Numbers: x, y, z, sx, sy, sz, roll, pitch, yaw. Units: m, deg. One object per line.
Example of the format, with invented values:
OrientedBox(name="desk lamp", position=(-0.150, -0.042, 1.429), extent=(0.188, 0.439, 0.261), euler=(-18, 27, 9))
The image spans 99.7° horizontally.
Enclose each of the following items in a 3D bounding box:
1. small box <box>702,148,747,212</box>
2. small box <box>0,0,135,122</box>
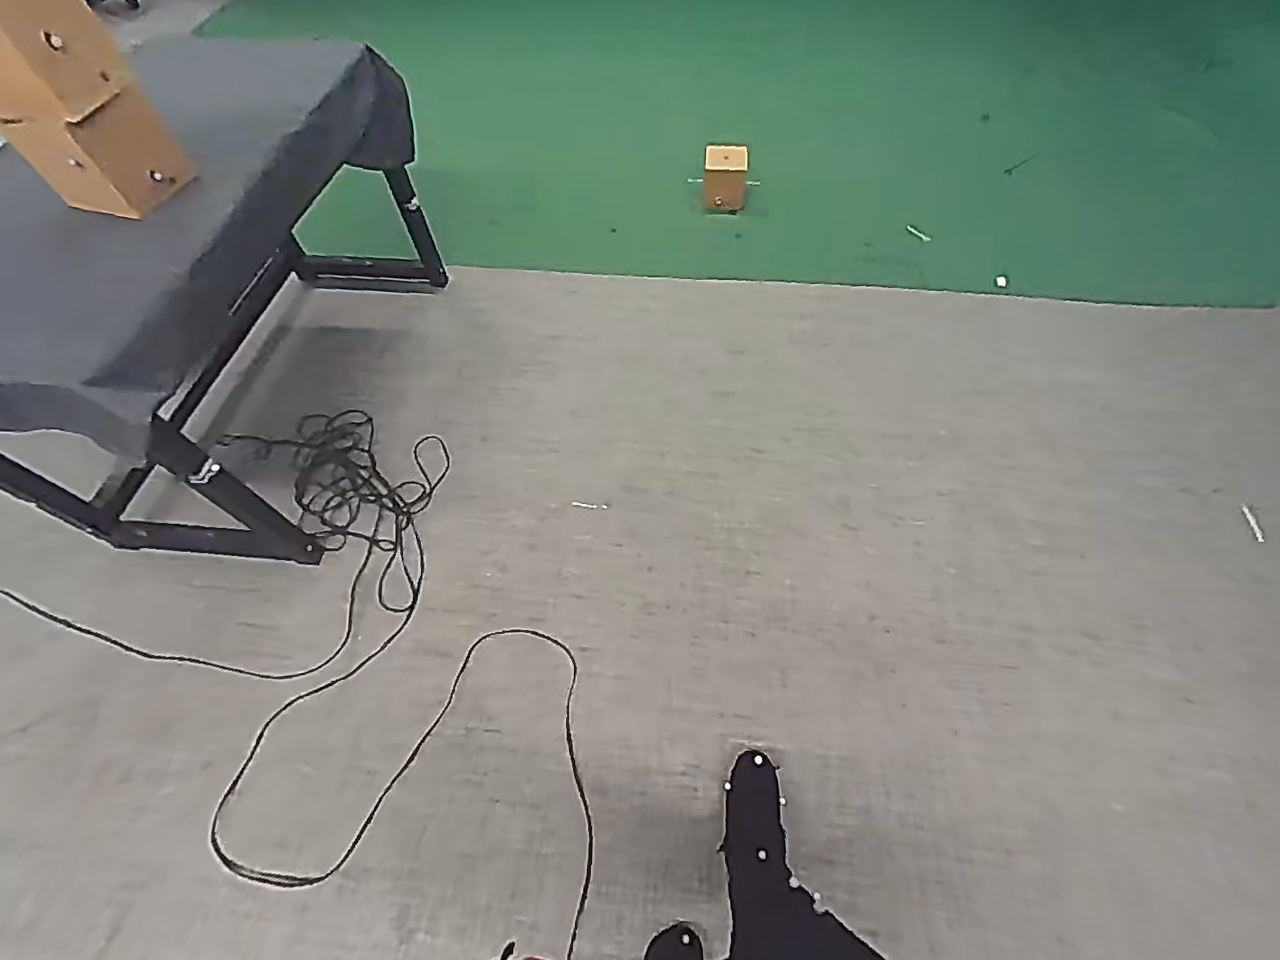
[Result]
OrientedBox(name="small box", position=(0.344, -1.231, 2.216), extent=(0.168, 0.176, 0.179), euler=(4, 59, 5))
OrientedBox(name="small box", position=(-0.992, -0.706, 0.870), extent=(0.179, 0.176, 0.168), euler=(7, 59, 6))
